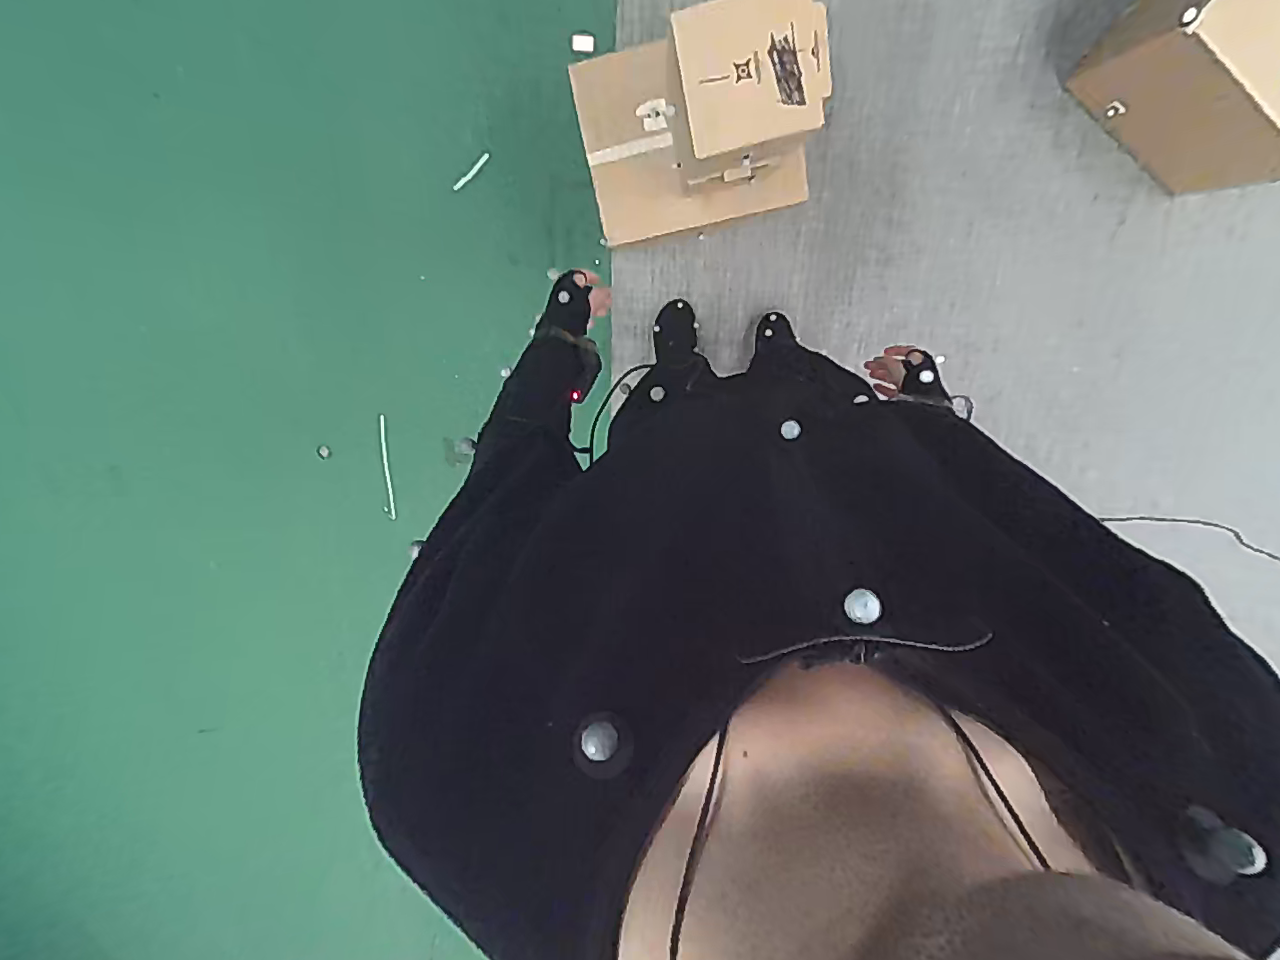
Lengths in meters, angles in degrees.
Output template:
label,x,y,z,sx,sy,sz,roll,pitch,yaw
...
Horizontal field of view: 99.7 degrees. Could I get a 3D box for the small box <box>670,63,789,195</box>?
label,x,y,z,sx,sy,sz,roll,pitch,yaw
small box,0.145,-0.597,0.914,0.168,0.176,0.179,-11,109,5

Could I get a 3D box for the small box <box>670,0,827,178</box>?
label,x,y,z,sx,sy,sz,roll,pitch,yaw
small box,0.144,-0.545,0.759,0.179,0.176,0.168,-12,109,6

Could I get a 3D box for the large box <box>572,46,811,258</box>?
label,x,y,z,sx,sy,sz,roll,pitch,yaw
large box,0.109,-0.683,1.145,0.408,0.320,0.320,-11,108,7
